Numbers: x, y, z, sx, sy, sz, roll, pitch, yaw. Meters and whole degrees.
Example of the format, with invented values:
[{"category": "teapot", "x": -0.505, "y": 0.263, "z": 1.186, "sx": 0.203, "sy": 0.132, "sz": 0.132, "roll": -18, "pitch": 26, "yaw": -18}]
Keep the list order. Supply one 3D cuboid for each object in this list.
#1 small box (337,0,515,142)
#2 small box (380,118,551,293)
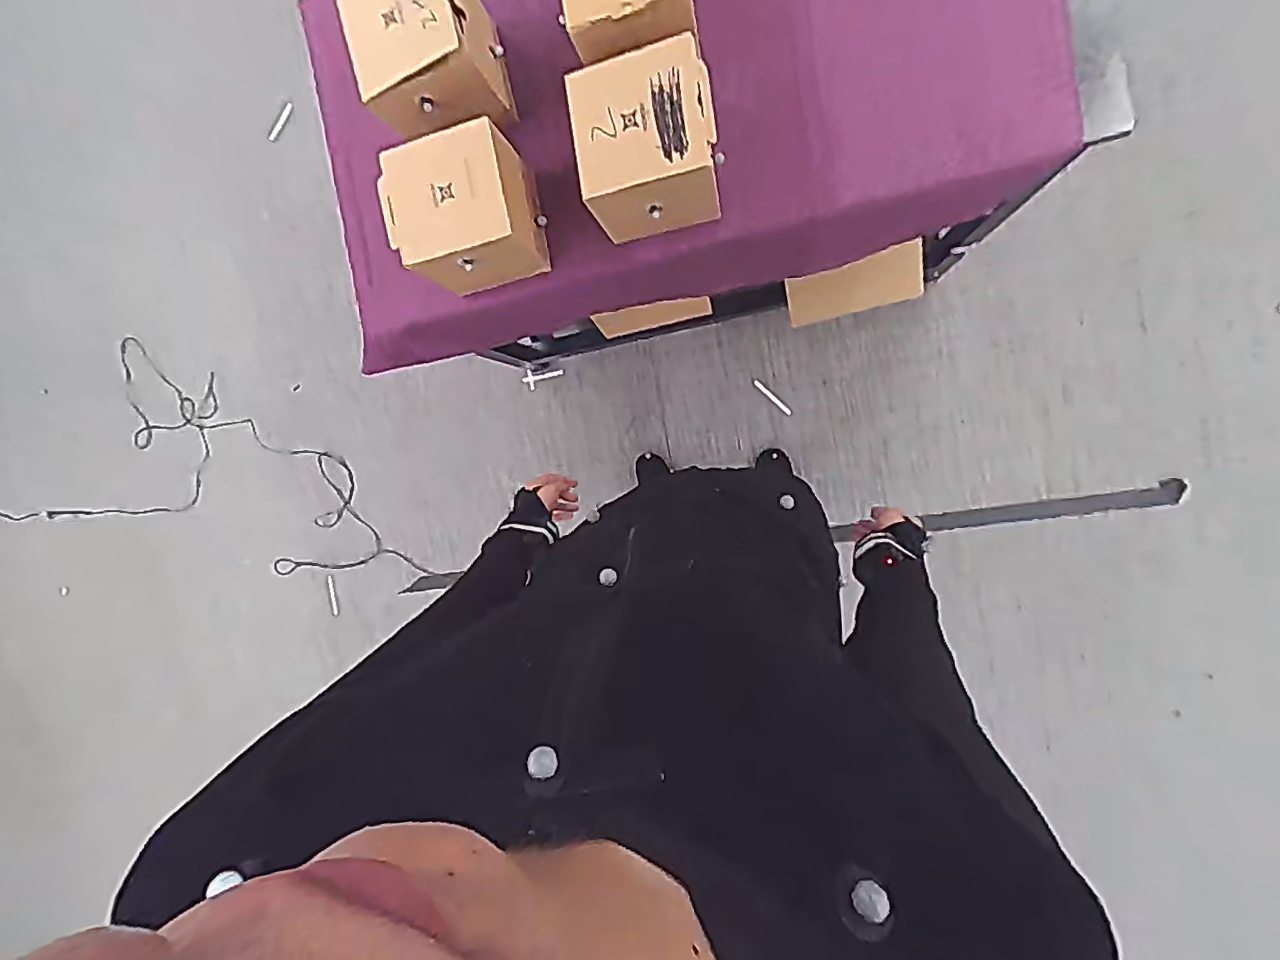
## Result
[{"category": "small box", "x": -0.318, "y": -0.639, "z": 0.827, "sx": 0.179, "sy": 0.176, "sz": 0.168, "roll": -12, "pitch": 92, "yaw": 12}, {"category": "small box", "x": -0.259, "y": -0.405, "z": 0.835, "sx": 0.179, "sy": 0.176, "sz": 0.168, "roll": -11, "pitch": 93, "yaw": 12}]
